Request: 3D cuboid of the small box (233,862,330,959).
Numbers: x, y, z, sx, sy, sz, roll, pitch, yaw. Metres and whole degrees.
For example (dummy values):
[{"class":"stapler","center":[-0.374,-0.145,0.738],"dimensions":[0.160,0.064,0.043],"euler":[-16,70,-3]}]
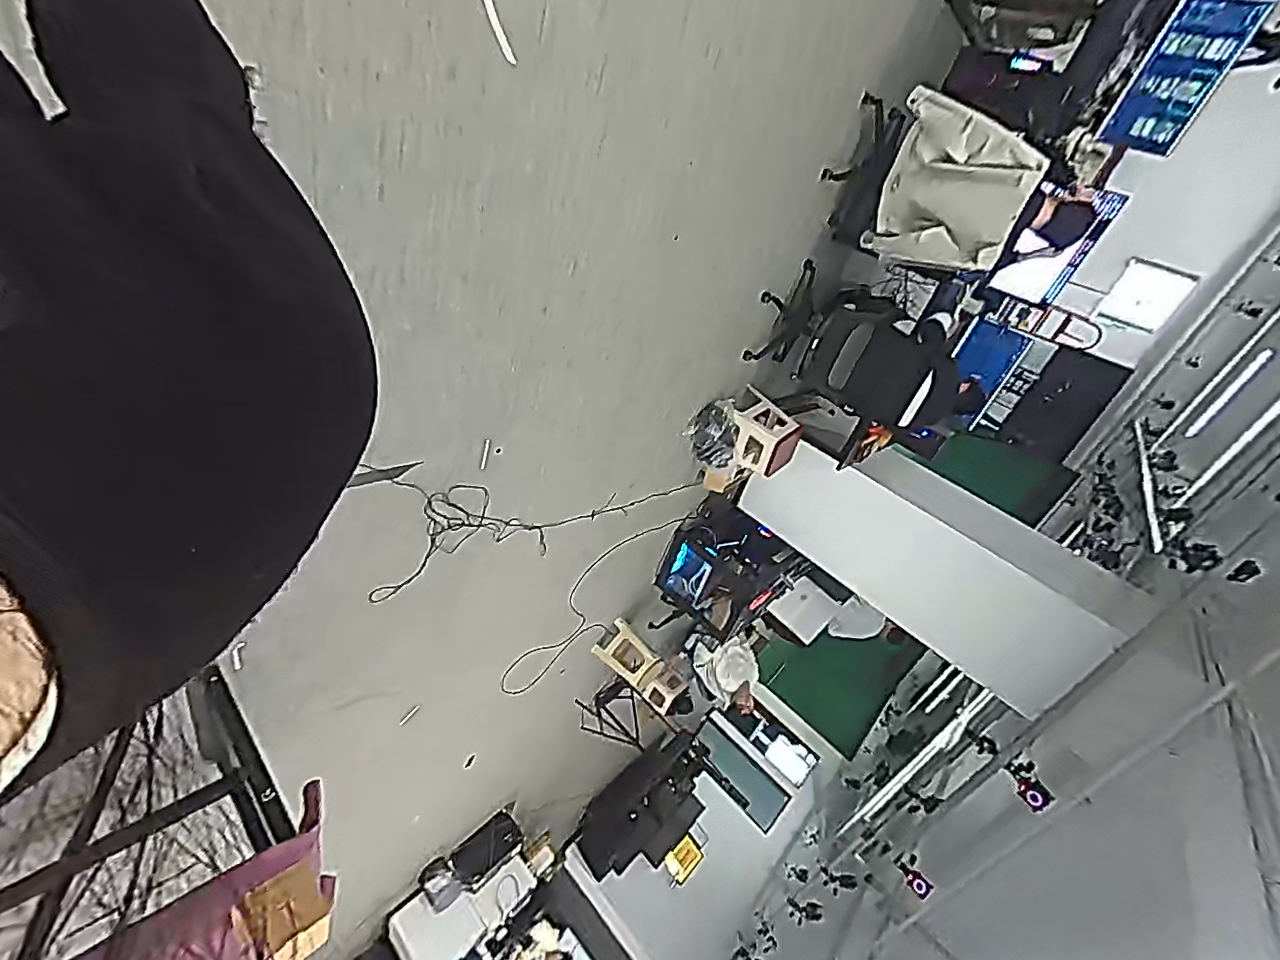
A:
[{"class":"small box","center":[-0.919,1.132,1.386],"dimensions":[0.168,0.176,0.179],"euler":[-16,136,-48]}]
